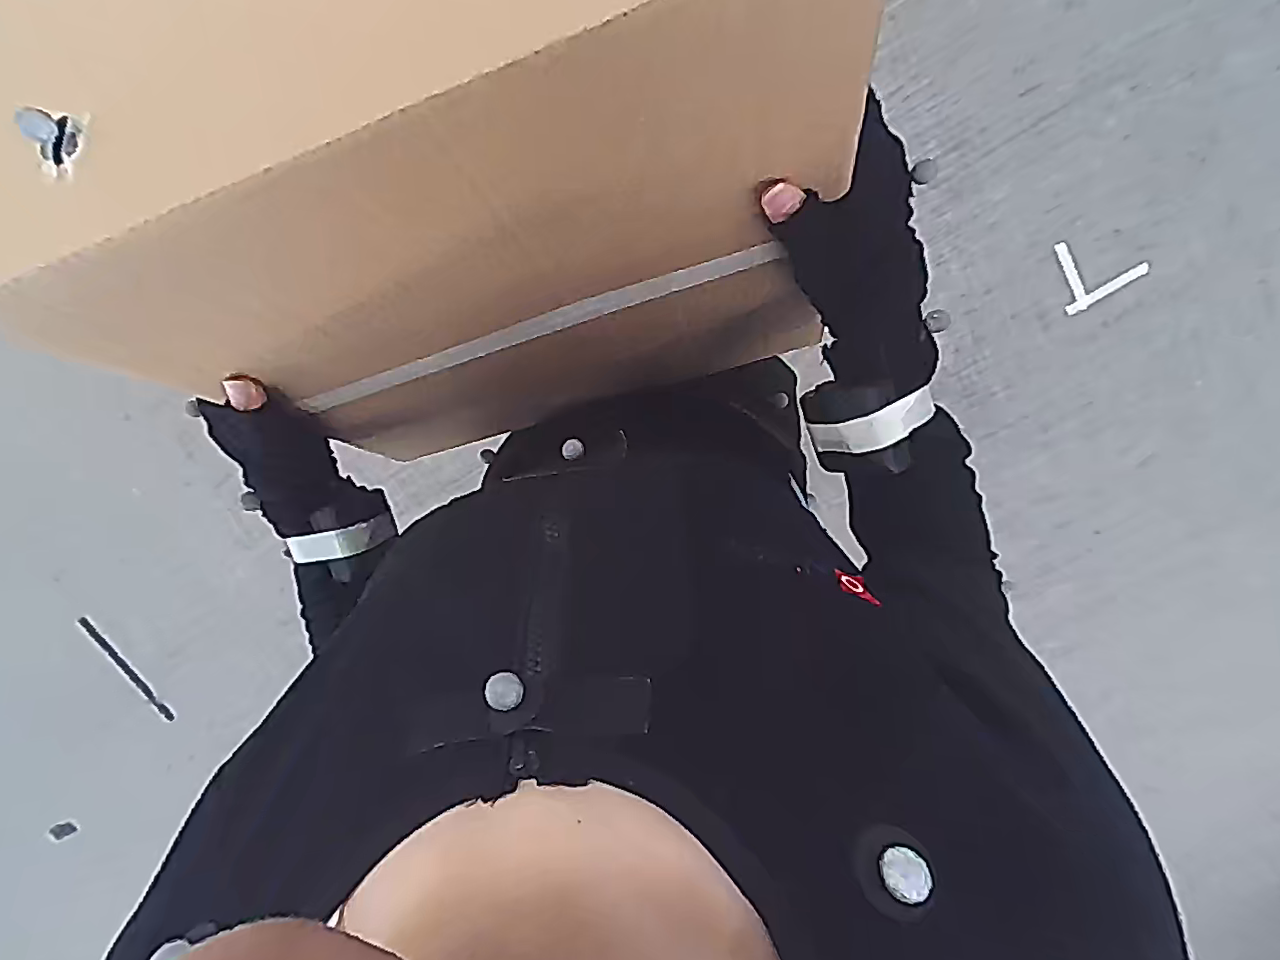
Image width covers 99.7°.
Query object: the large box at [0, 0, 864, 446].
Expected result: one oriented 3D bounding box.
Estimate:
[{"bbox_3d":[-0.106,-0.252,0.387,0.408,0.320,0.320,-14,77,11],"label":"large box"}]
